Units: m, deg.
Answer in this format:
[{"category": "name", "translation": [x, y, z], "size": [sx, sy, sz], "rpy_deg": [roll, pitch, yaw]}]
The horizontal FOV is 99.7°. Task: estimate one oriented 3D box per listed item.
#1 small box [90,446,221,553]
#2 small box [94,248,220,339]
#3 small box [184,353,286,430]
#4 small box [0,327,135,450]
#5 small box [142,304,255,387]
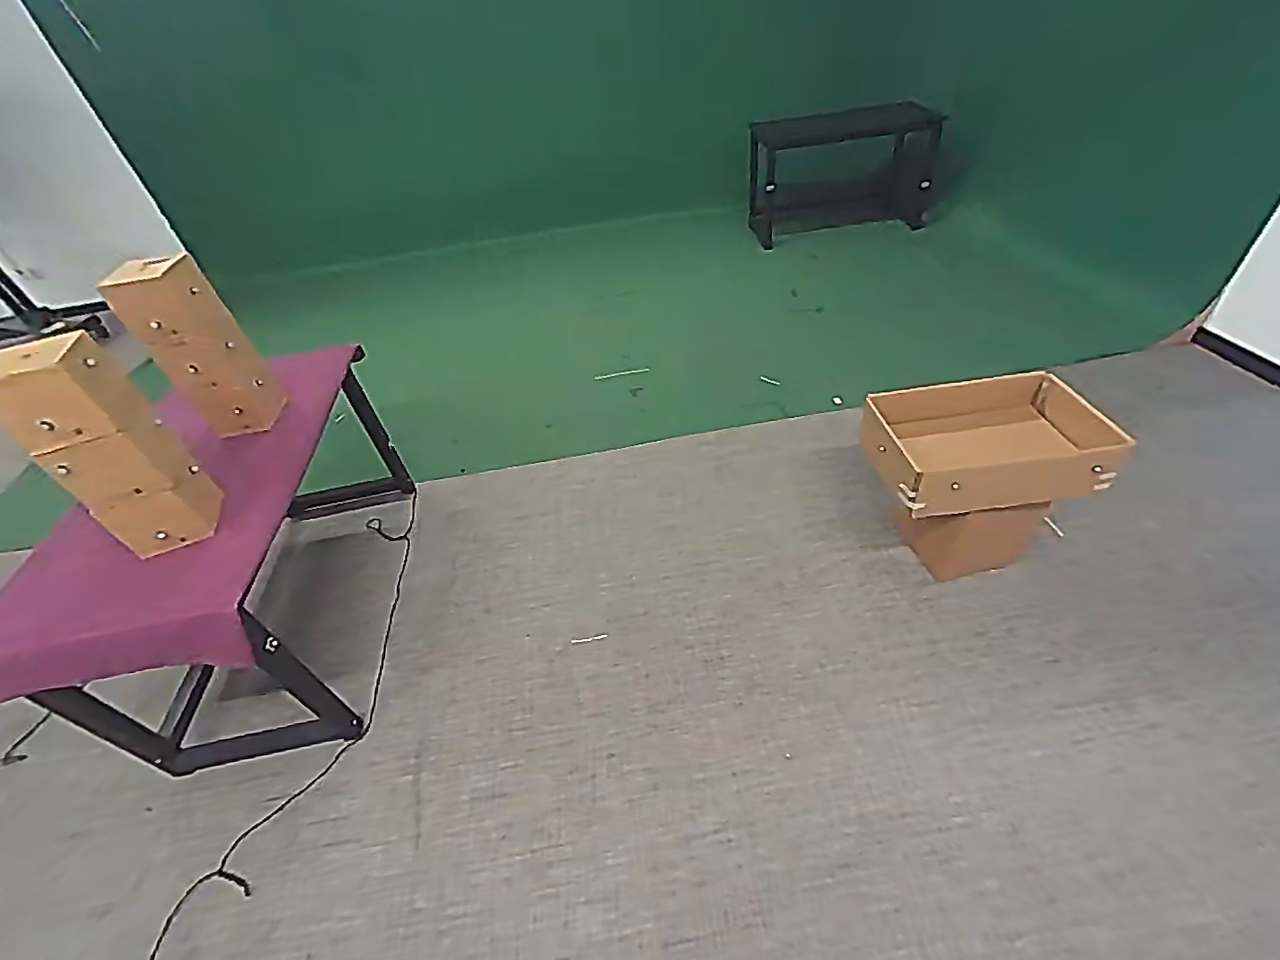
[{"category": "small box", "translation": [-1.191, 0.049, 1.349], "size": [0.168, 0.176, 0.179], "rpy_deg": [-20, 45, -12]}, {"category": "small box", "translation": [-1.295, -0.506, 1.470], "size": [0.168, 0.176, 0.179], "rpy_deg": [-11, 45, -3]}, {"category": "small box", "translation": [-1.257, -0.270, 1.696], "size": [0.168, 0.176, 0.179], "rpy_deg": [-9, 43, -1]}, {"category": "small box", "translation": [-1.218, -0.191, 1.129], "size": [0.168, 0.176, 0.179], "rpy_deg": [-21, 45, -14]}, {"category": "small box", "translation": [-1.276, -0.387, 1.583], "size": [0.168, 0.176, 0.179], "rpy_deg": [-10, 45, -3]}]
